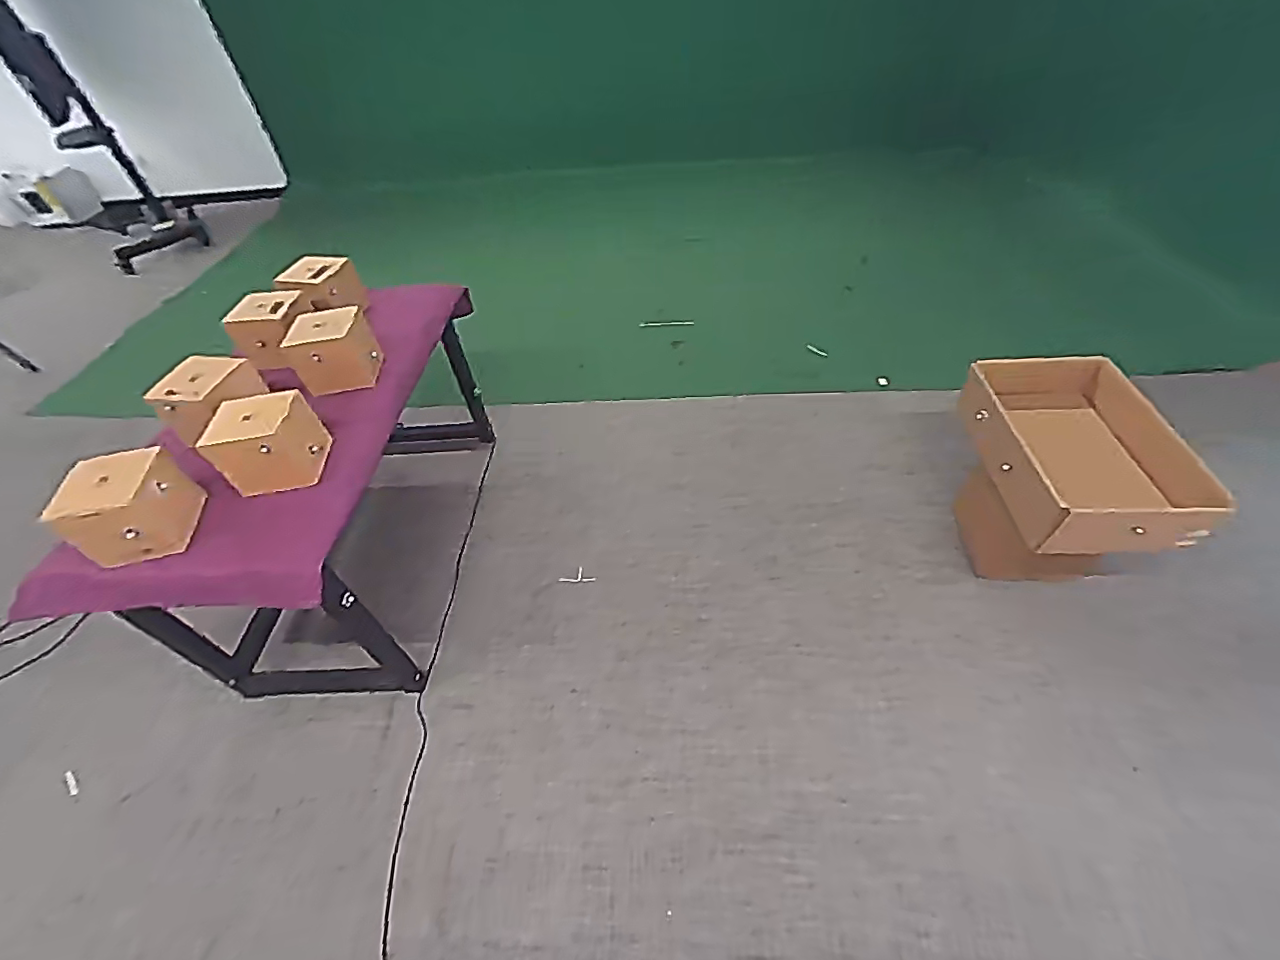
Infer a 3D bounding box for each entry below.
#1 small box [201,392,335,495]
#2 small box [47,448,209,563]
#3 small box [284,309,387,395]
[{"bbox_3d":[-0.868,-0.082,1.282,0.179,0.176,0.168,-10,46,-2],"label":"small box"},{"bbox_3d":[-1.087,0.061,1.170,0.168,0.176,0.179,-12,47,-7],"label":"small box"},{"bbox_3d":[-0.855,-0.358,1.535,0.179,0.176,0.168,-9,48,-1],"label":"small box"}]
